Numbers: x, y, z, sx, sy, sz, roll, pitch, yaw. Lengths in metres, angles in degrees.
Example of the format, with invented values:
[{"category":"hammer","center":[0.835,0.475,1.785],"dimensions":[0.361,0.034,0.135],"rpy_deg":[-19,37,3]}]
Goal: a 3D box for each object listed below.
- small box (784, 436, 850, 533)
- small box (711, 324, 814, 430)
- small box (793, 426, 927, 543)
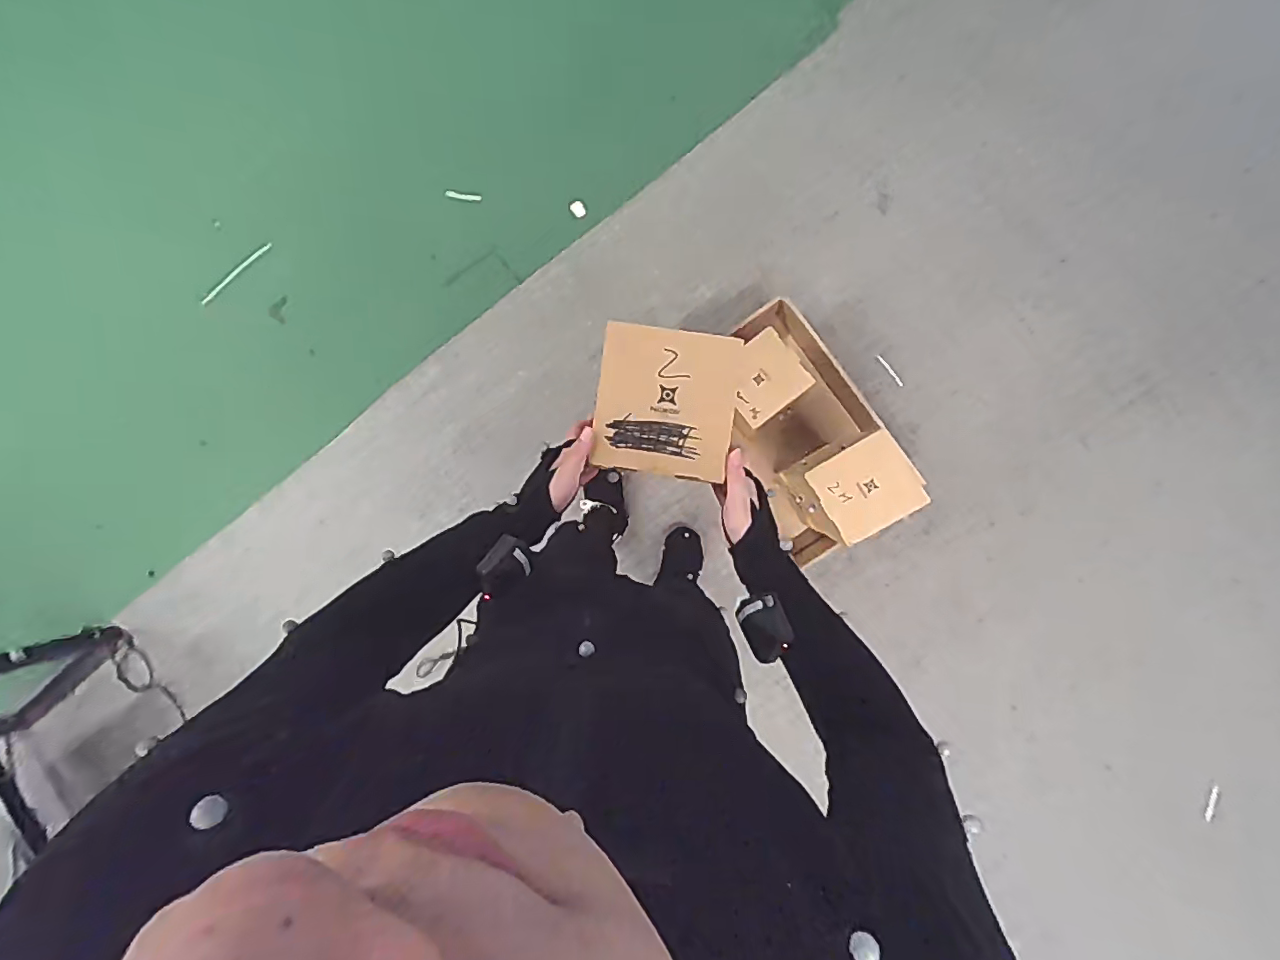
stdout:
[{"category":"small box","center":[0.460,0.003,1.270],"dimensions":[0.179,0.176,0.168],"rpy_deg":[-31,87,7]},{"category":"small box","center":[0.281,-0.236,1.288],"dimensions":[0.179,0.176,0.168],"rpy_deg":[-38,86,5]},{"category":"small box","center":[0.437,0.007,1.106],"dimensions":[0.179,0.176,0.168],"rpy_deg":[-31,86,7]}]
